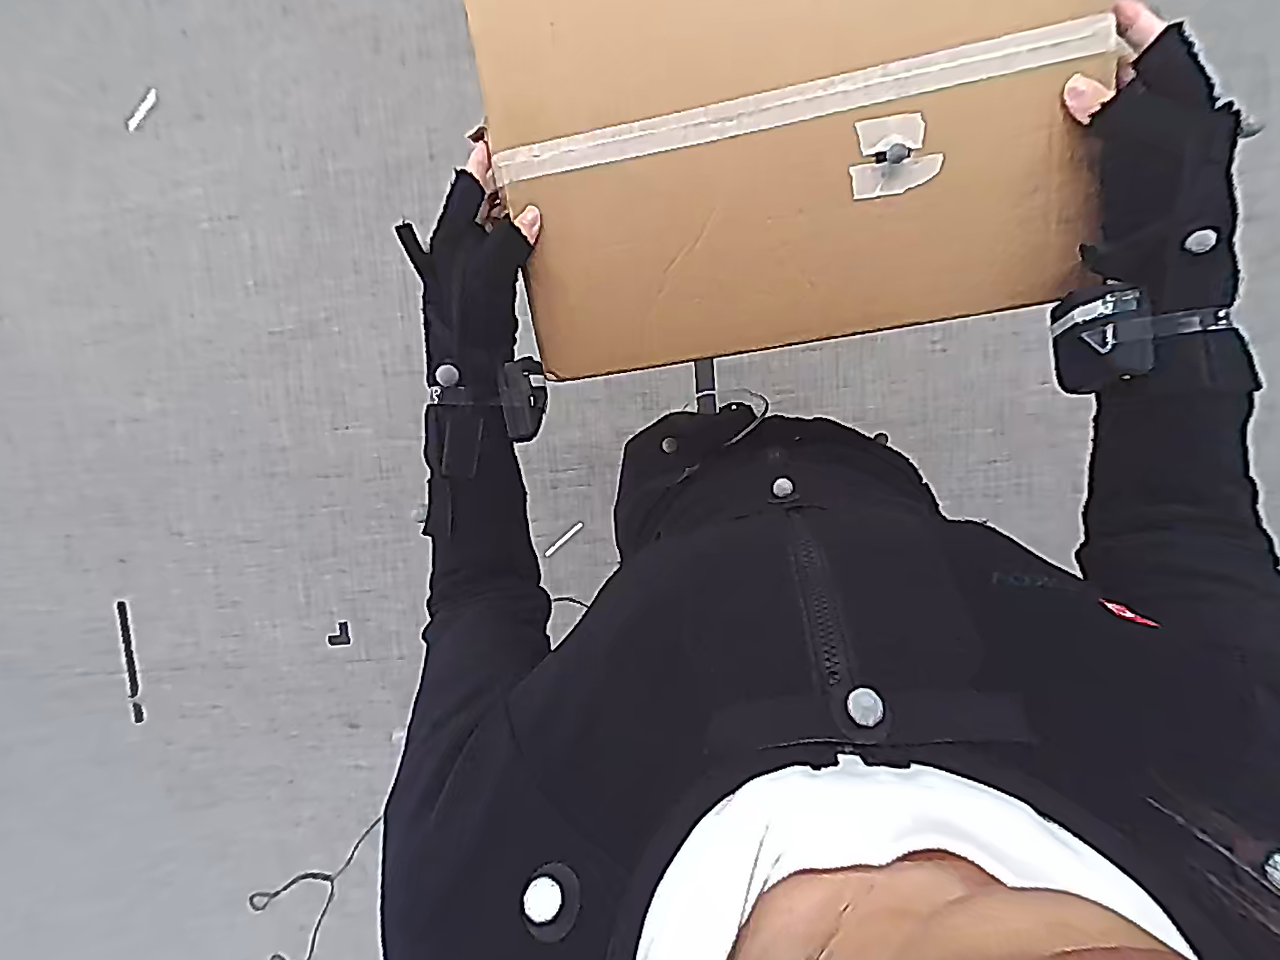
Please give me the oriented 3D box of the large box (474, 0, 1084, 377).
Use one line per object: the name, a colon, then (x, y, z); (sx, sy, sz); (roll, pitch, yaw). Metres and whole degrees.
large box: (0.108, -0.297, 0.526); (0.408, 0.320, 0.320); (-8, 105, 7)
